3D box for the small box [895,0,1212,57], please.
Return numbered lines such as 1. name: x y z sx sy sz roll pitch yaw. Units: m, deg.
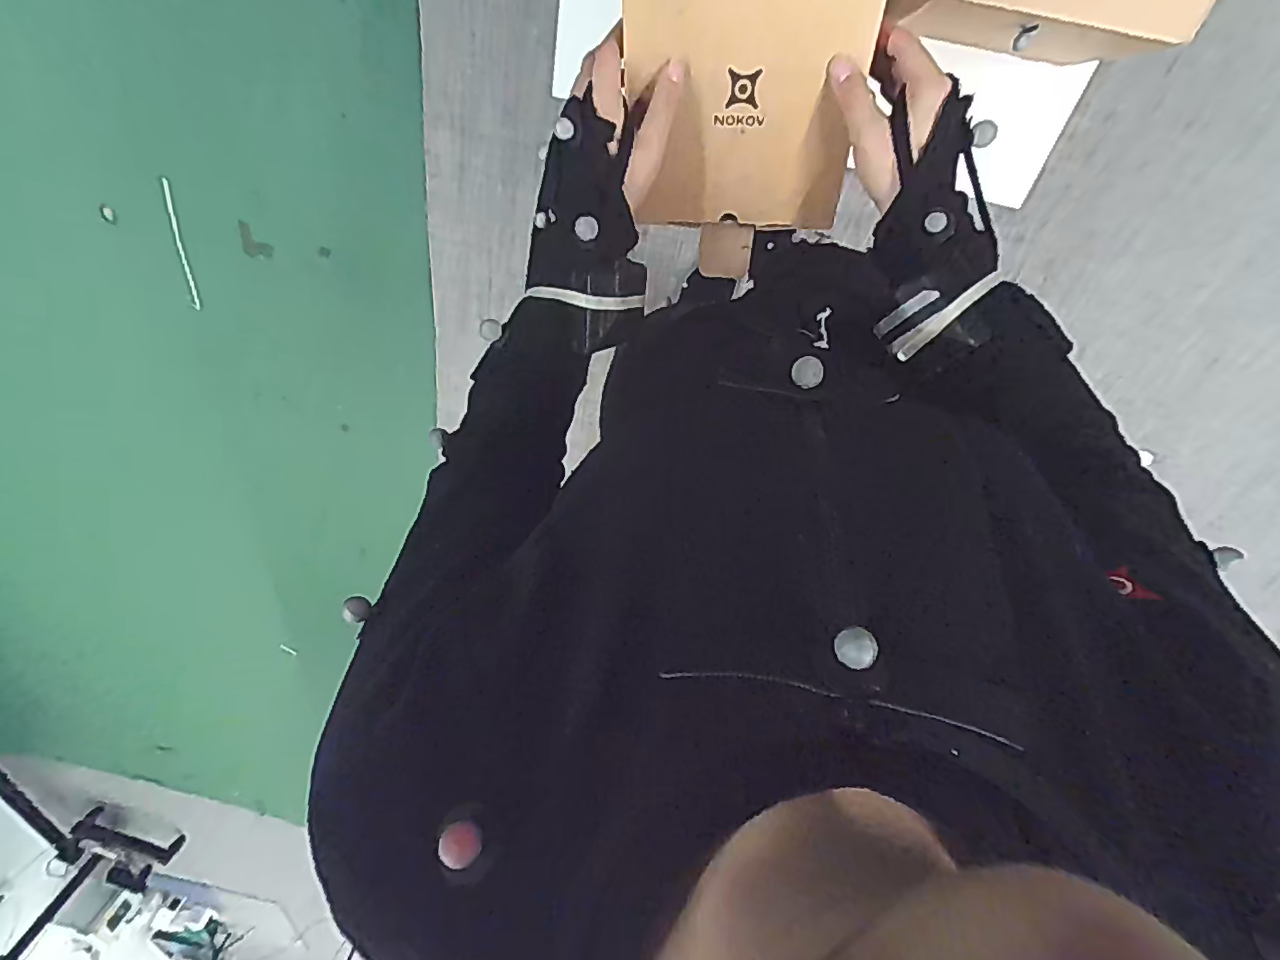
1. small box: 0.312 -0.425 0.388 0.179 0.176 0.168 13 125 2
